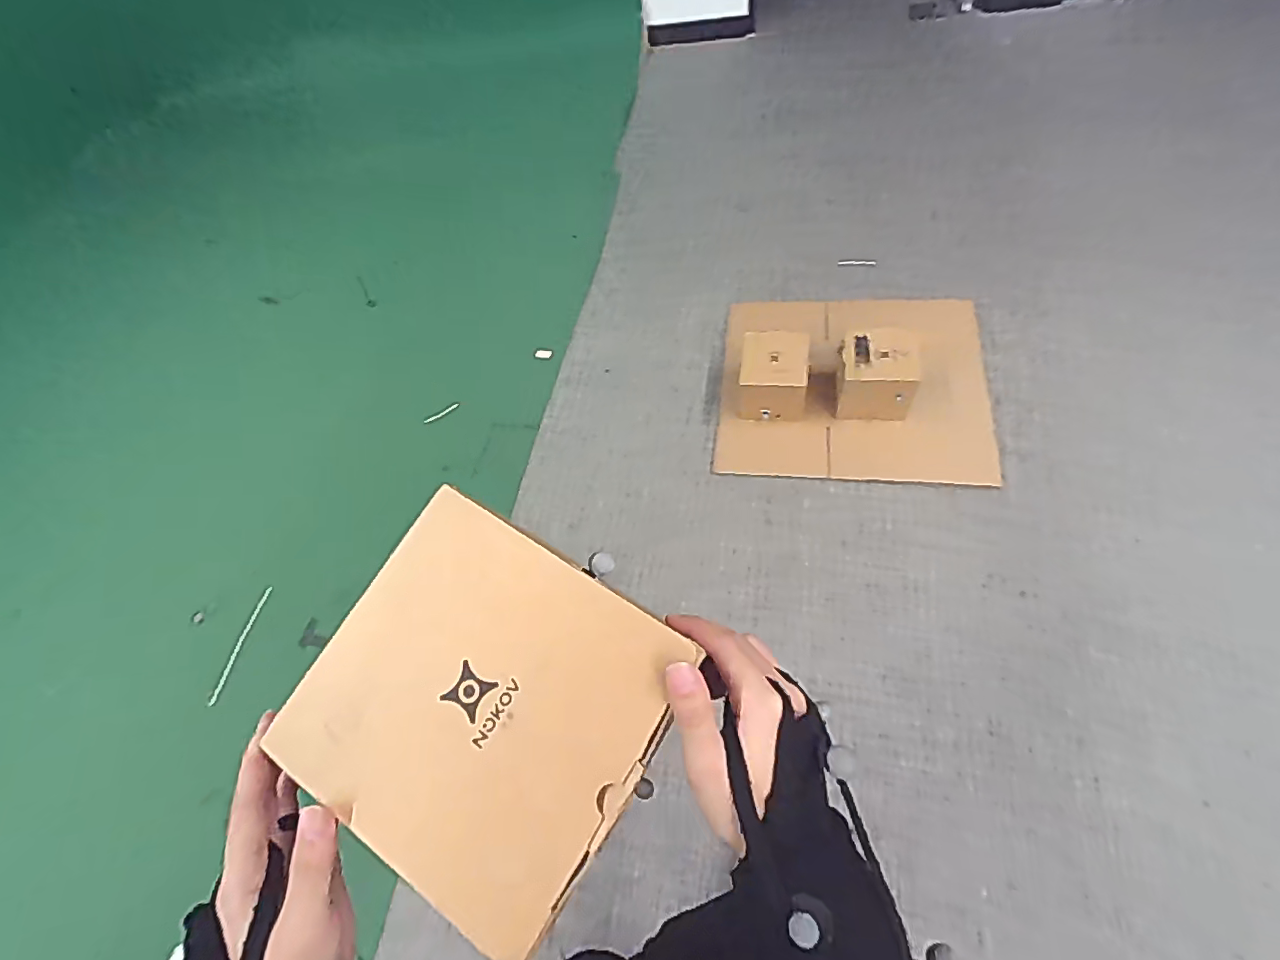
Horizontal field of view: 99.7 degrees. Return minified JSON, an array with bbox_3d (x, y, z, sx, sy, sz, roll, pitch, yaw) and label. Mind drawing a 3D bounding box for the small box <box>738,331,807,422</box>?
[{"bbox_3d":[0.353,-0.275,1.448,0.168,0.176,0.179,3,64,13],"label":"small box"}]
